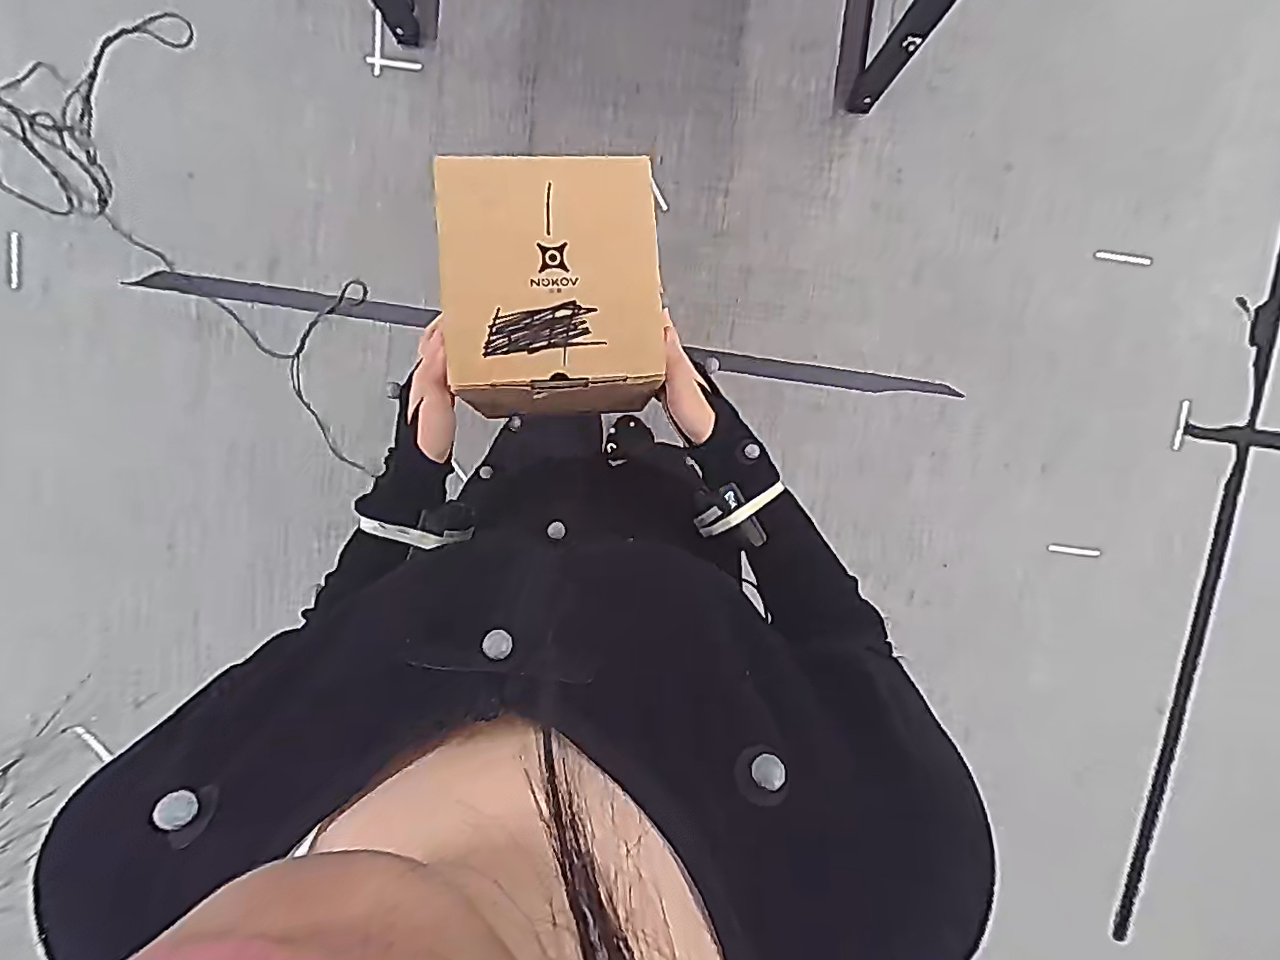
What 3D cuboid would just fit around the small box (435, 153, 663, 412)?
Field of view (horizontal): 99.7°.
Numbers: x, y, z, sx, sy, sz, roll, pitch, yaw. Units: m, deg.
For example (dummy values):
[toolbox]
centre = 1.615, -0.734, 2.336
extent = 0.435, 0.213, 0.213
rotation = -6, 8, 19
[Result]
[small box]
centre = -0.074, -0.158, 0.487
extent = 0.168, 0.176, 0.179
rotation = -4, 88, -6
